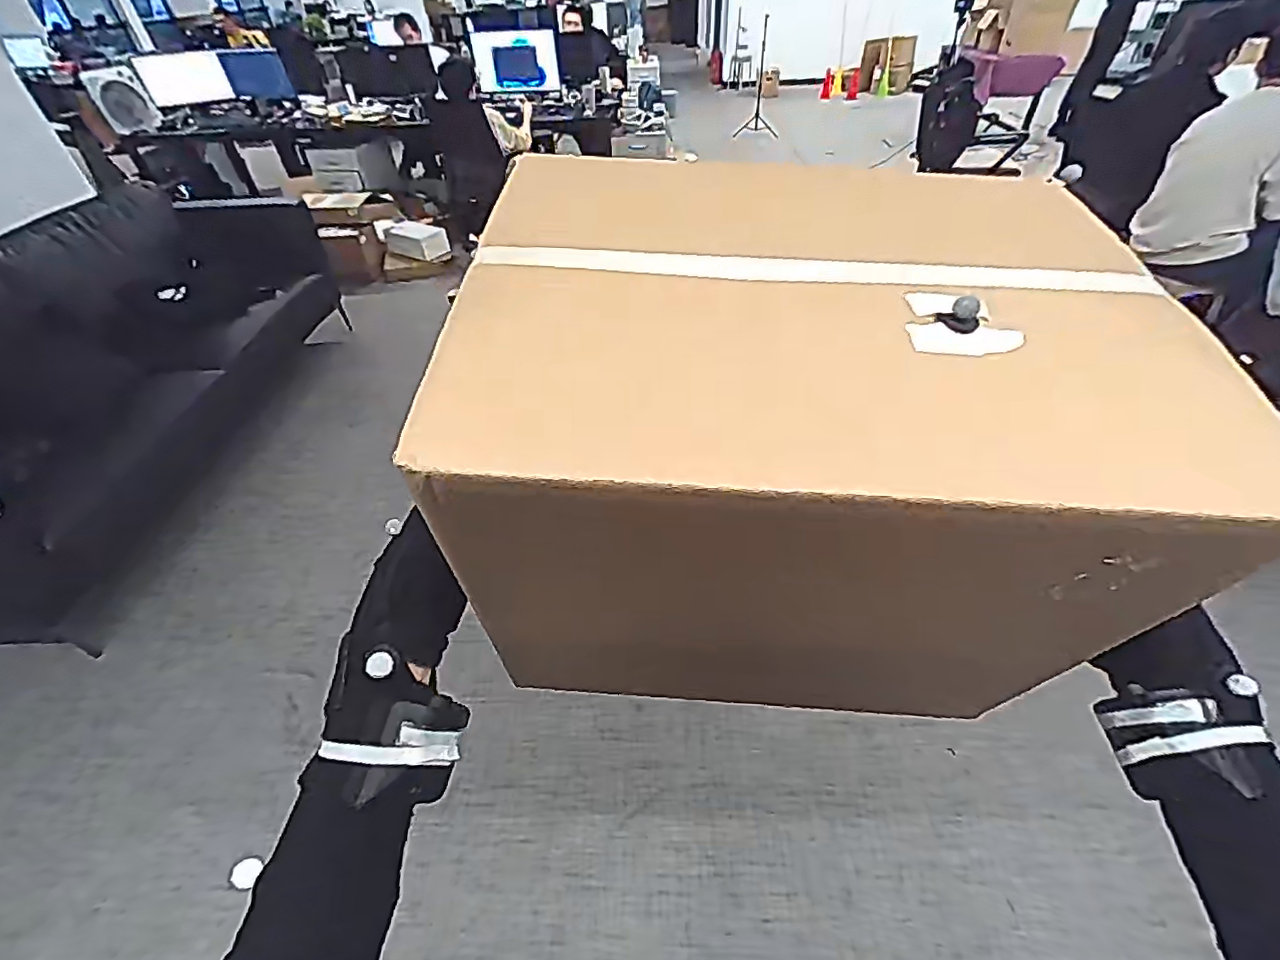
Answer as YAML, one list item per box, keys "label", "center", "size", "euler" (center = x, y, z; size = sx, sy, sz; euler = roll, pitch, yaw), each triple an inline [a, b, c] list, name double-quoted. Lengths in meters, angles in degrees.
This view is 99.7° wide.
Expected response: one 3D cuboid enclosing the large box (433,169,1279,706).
- label: "large box"
  center: [0.104, -0.023, 0.449]
  size: [0.408, 0.320, 0.320]
  euler: [4, 53, 1]
